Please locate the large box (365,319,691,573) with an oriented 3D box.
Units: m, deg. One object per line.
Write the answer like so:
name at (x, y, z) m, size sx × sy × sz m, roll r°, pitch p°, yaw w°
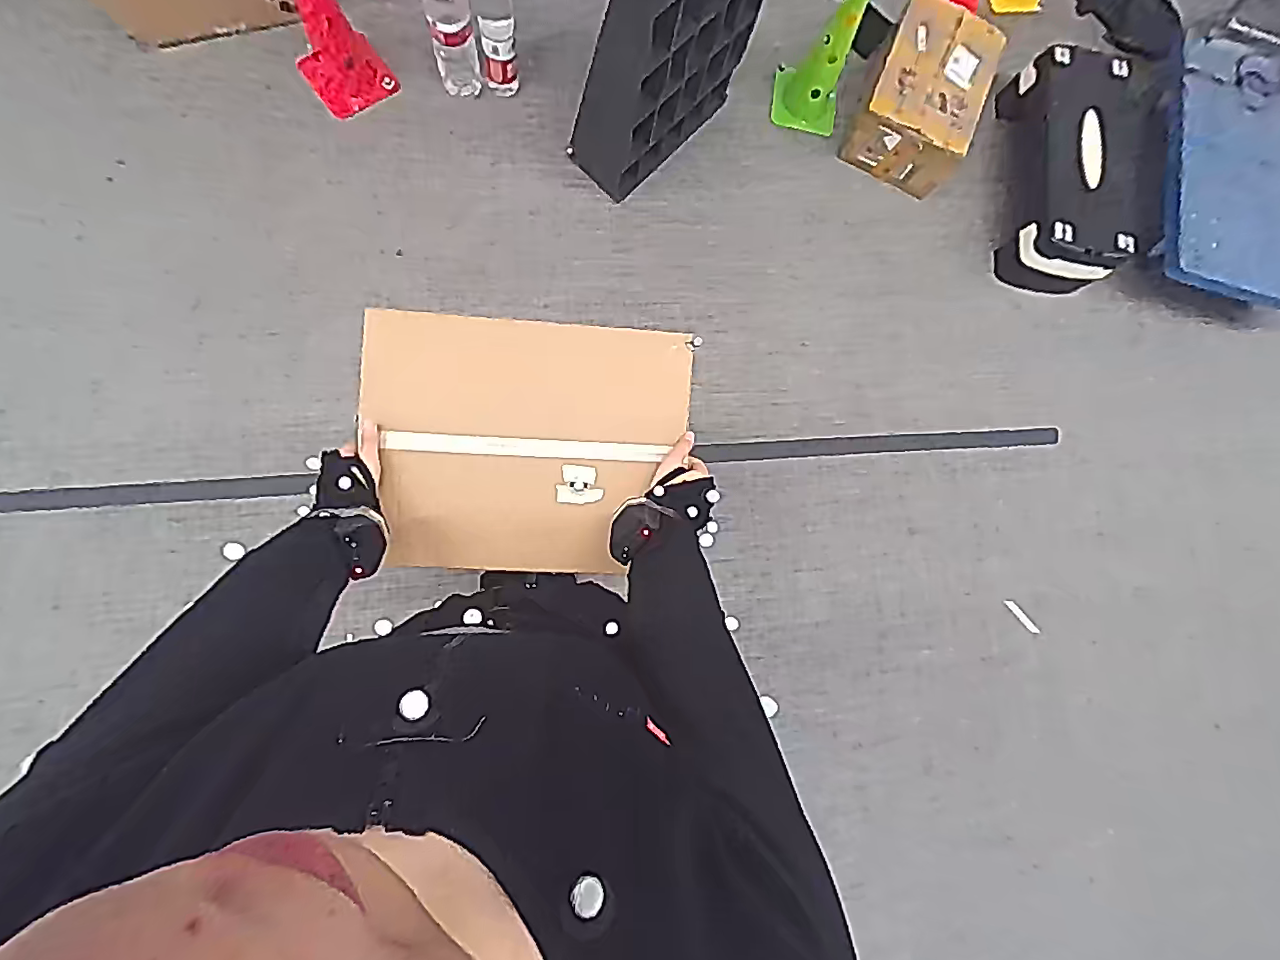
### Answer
large box at (-0.152, -0.038, 0.825) m, size 0.408 × 0.320 × 0.320 m, roll 2°, pitch 91°, yaw -6°
